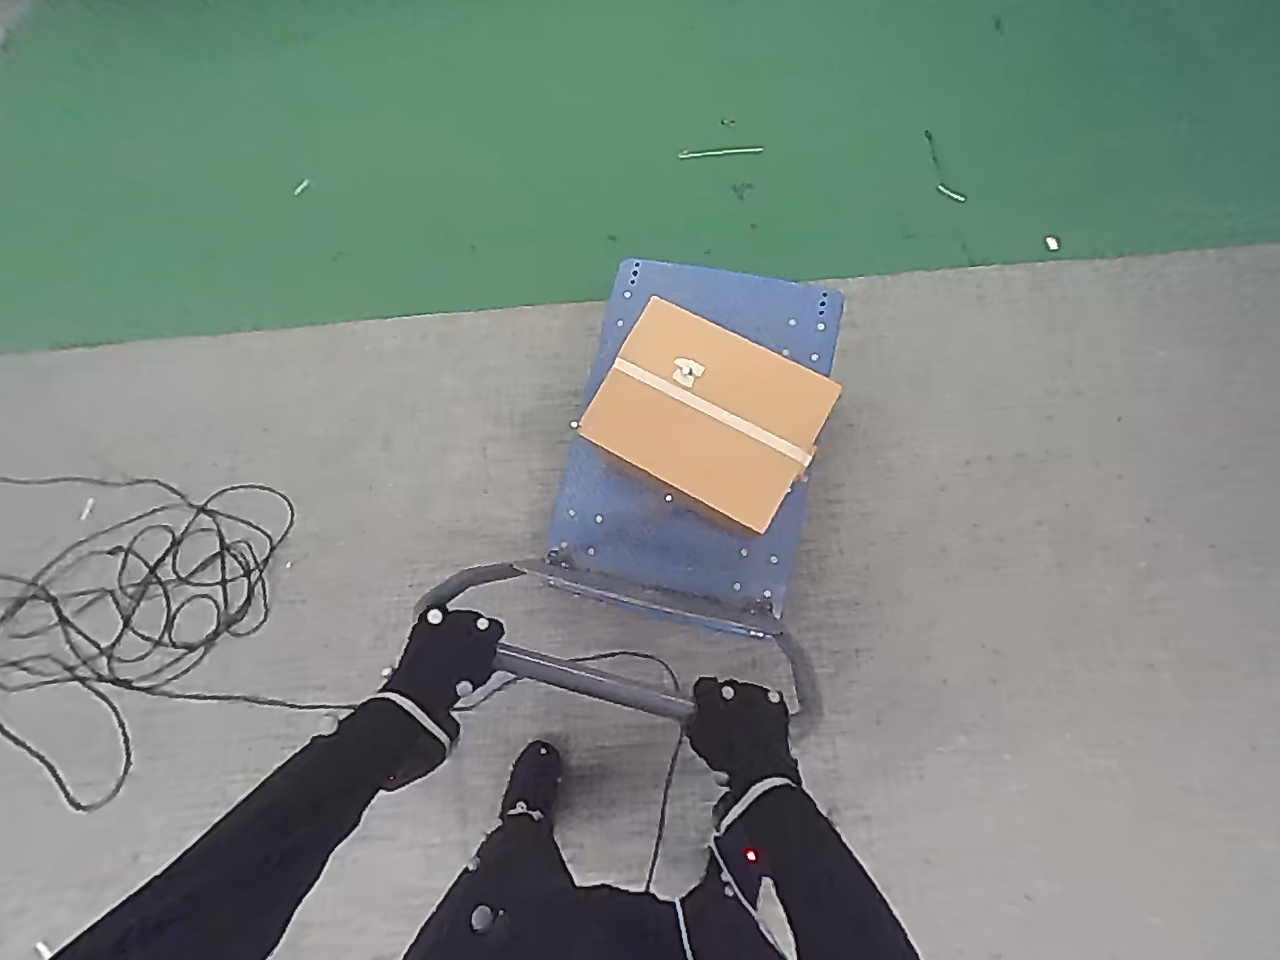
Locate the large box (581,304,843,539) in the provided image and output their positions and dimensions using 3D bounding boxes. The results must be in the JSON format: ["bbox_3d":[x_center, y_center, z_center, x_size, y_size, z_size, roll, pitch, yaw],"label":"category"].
[{"bbox_3d":[0.152,-0.101,1.151,0.408,0.320,0.320,29,86,12],"label":"large box"}]
